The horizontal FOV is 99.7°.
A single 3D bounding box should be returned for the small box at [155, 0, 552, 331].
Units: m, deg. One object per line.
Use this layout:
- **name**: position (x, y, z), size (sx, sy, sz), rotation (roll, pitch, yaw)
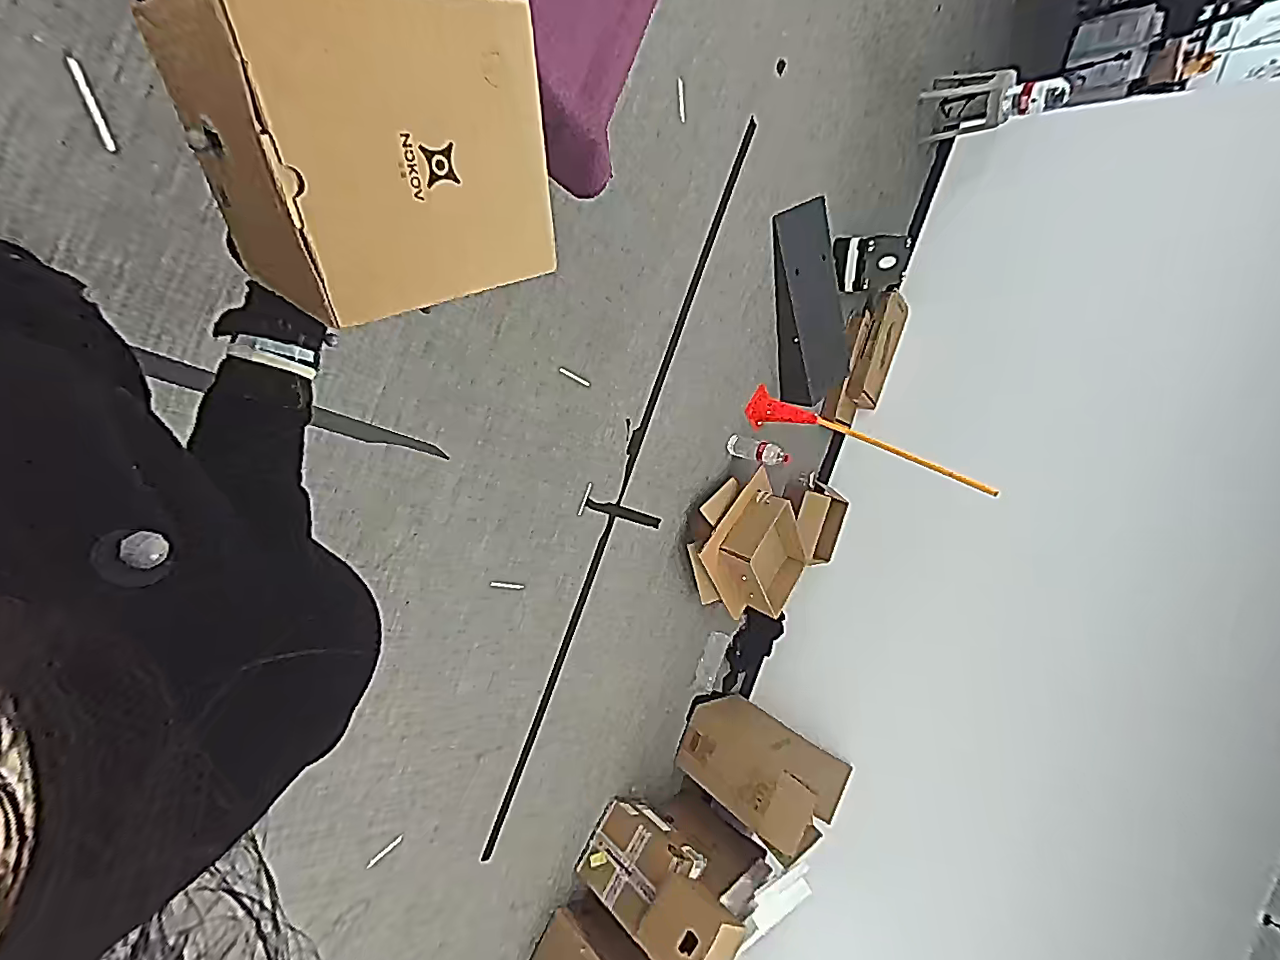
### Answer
- **small box**: position (-0.189, -0.229, 0.387), size (0.179, 0.176, 0.168), rotation (-32, 138, -35)
